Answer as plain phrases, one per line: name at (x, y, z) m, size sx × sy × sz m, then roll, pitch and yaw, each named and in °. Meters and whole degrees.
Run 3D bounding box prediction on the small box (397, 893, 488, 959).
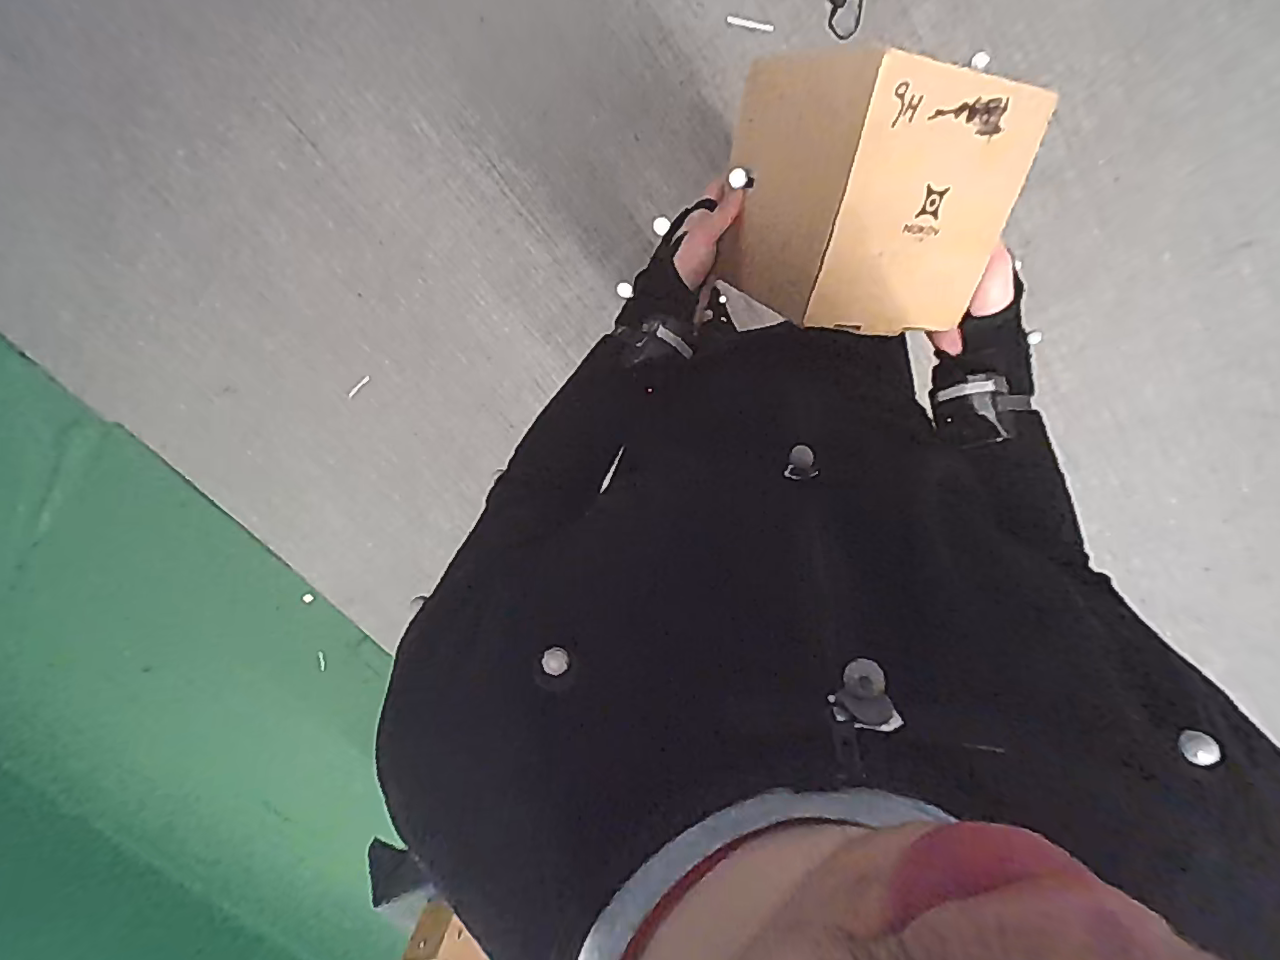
small box at (-0.577, 1.365, 1.606) m, size 0.179 × 0.176 × 0.168 m, roll -31°, pitch 108°, yaw 25°
